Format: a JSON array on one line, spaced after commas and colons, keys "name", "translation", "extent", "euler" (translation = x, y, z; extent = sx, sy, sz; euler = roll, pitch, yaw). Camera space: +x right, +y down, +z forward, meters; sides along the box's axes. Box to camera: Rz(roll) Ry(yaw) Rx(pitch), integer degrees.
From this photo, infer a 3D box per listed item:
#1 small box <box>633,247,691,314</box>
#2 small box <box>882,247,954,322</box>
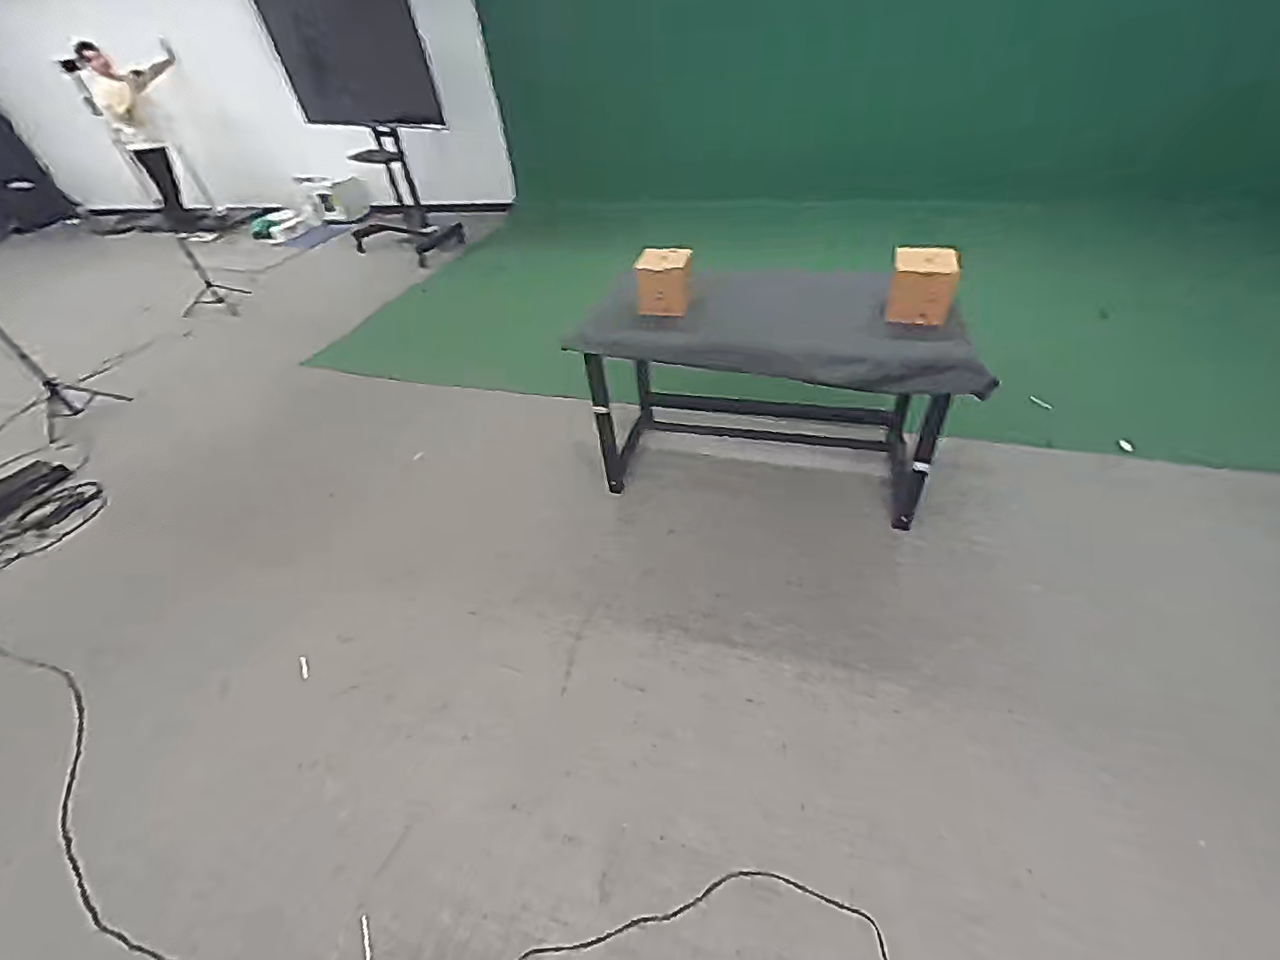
[{"name": "small box", "translation": [0.084, -0.695, 1.886], "extent": [0.168, 0.176, 0.179], "euler": [7, 45, 14]}, {"name": "small box", "translation": [0.860, -0.606, 1.680], "extent": [0.168, 0.176, 0.179], "euler": [10, 44, 17]}]
